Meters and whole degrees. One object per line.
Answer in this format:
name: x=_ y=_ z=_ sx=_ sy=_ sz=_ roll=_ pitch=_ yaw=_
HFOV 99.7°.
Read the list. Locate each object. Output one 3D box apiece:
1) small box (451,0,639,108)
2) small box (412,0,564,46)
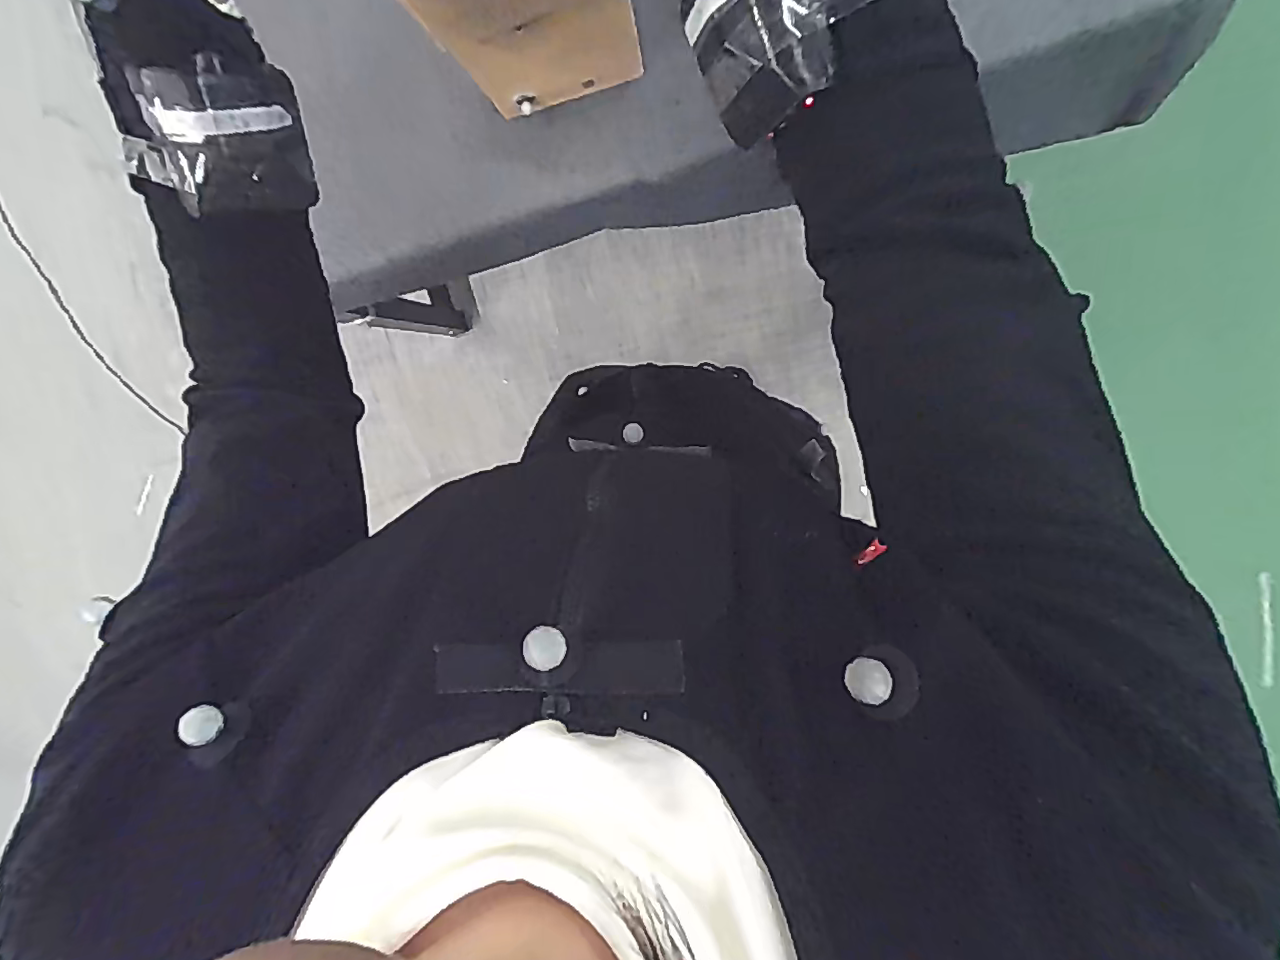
small box: x=-0.103 y=-0.500 z=0.526 sx=0.168 sy=0.176 sz=0.179 roll=-12 pitch=99 yaw=8
small box: x=-0.113 y=-0.447 z=0.355 sx=0.179 sy=0.176 sz=0.168 roll=-18 pitch=98 yaw=8
